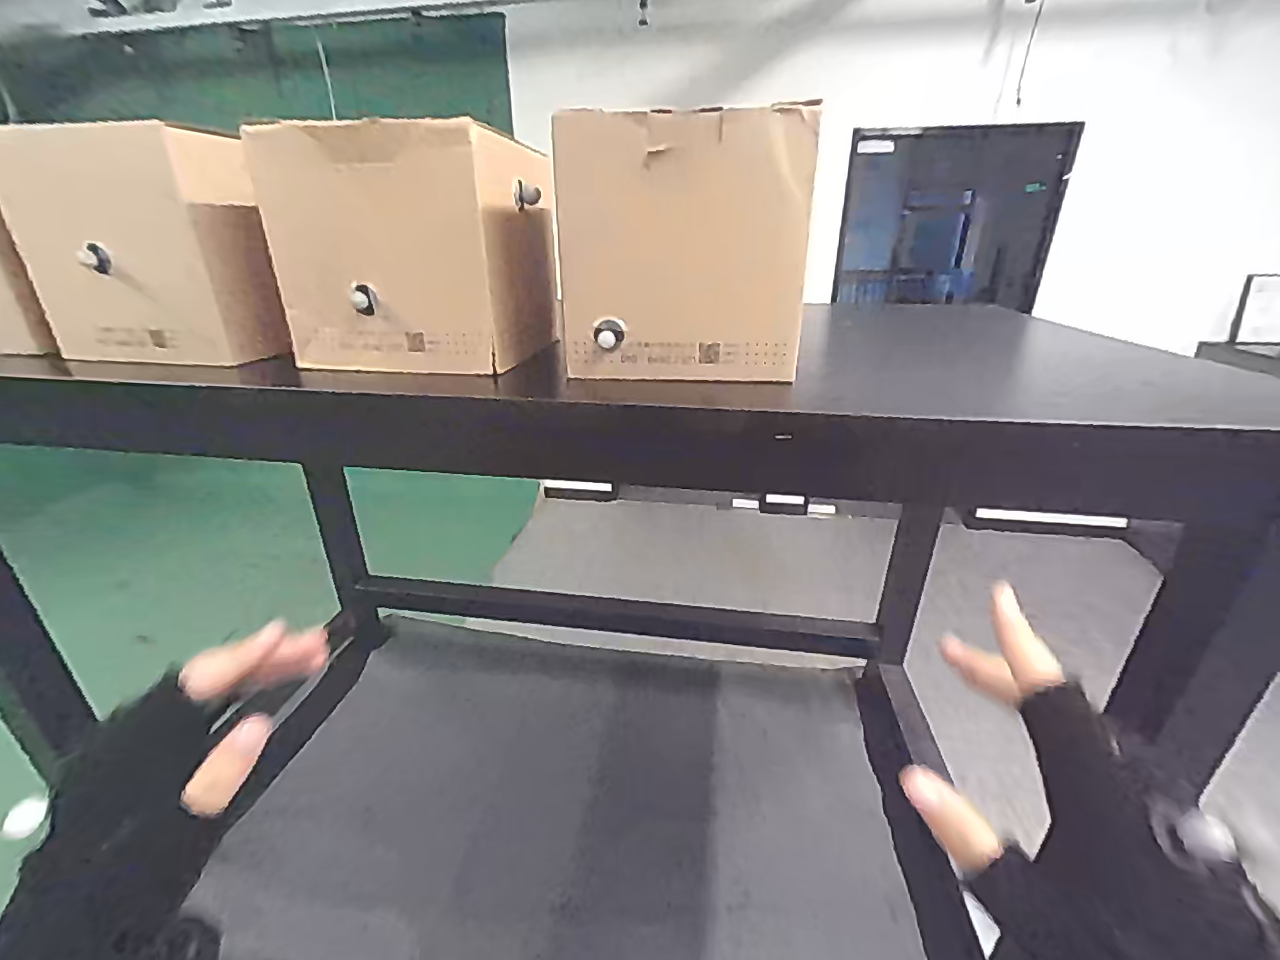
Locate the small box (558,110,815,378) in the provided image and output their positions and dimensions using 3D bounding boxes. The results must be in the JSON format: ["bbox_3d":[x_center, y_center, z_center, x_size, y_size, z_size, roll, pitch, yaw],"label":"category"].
[{"bbox_3d":[0.037,-0.182,0.443,0.168,0.176,0.179,2,23,5],"label":"small box"}]
